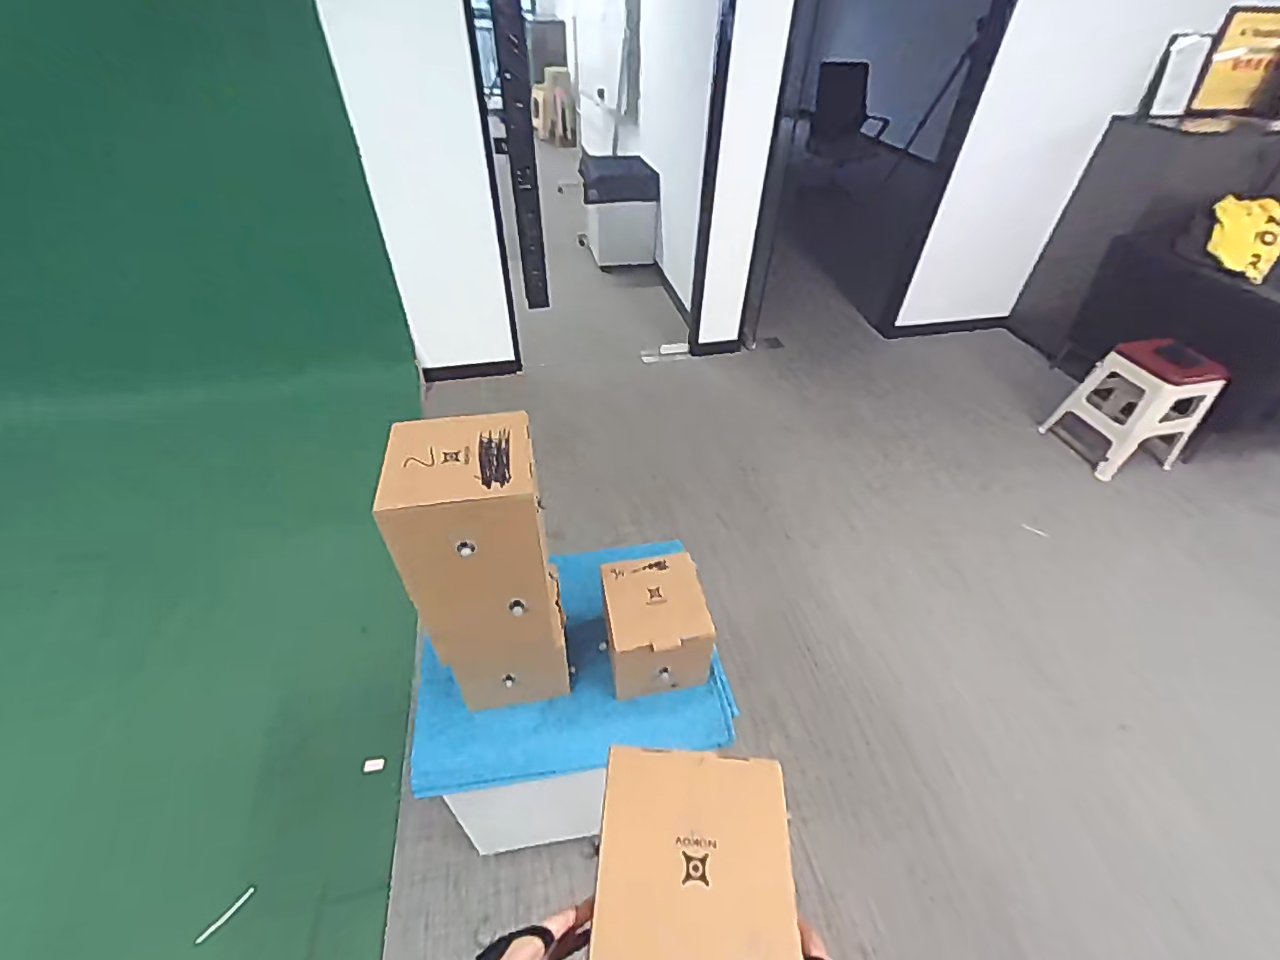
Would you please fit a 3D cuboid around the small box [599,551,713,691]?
[{"bbox_3d":[0.021,0.253,0.953,0.168,0.176,0.179,-6,44,-9],"label":"small box"}]

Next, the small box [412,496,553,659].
[{"bbox_3d":[-0.224,0.147,0.815,0.179,0.176,0.168,-6,42,-9],"label":"small box"}]

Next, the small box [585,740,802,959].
[{"bbox_3d":[0.041,0.371,0.506,0.168,0.176,0.179,5,43,-1],"label":"small box"}]

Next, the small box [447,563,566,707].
[{"bbox_3d":[-0.220,0.266,0.928,0.179,0.176,0.168,-6,43,-9],"label":"small box"}]
